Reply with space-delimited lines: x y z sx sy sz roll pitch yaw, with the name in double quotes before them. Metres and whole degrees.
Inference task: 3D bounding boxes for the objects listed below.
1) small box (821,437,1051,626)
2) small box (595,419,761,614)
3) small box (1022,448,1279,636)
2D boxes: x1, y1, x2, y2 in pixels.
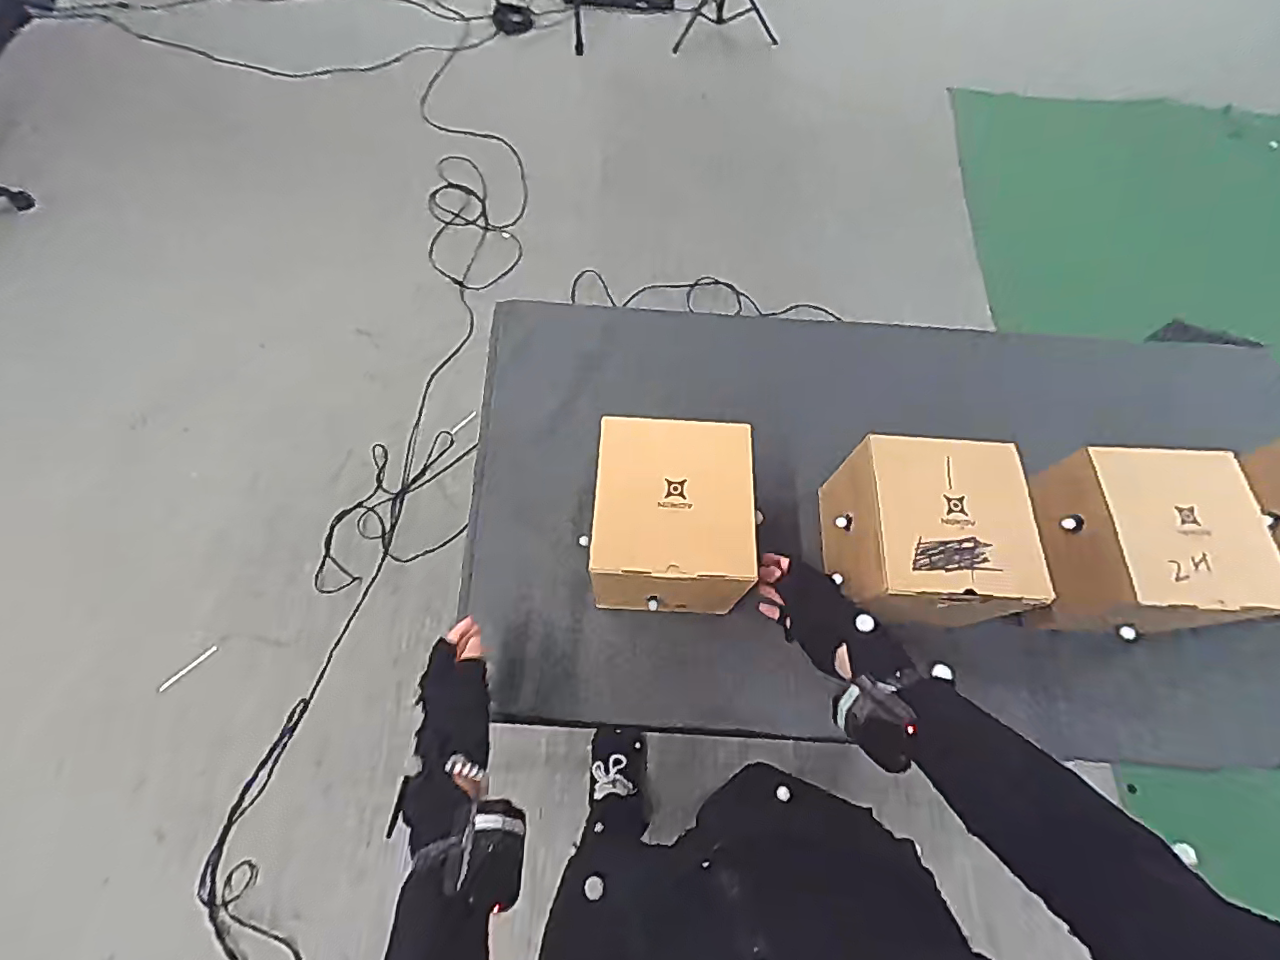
"small box" 0.323 0.069 0.632 0.168 0.176 0.179 4 66 -1
"small box" 0.035 0.049 0.629 0.168 0.176 0.179 3 67 -2
"small box" 0.565 0.079 0.636 0.168 0.176 0.179 2 67 -1
